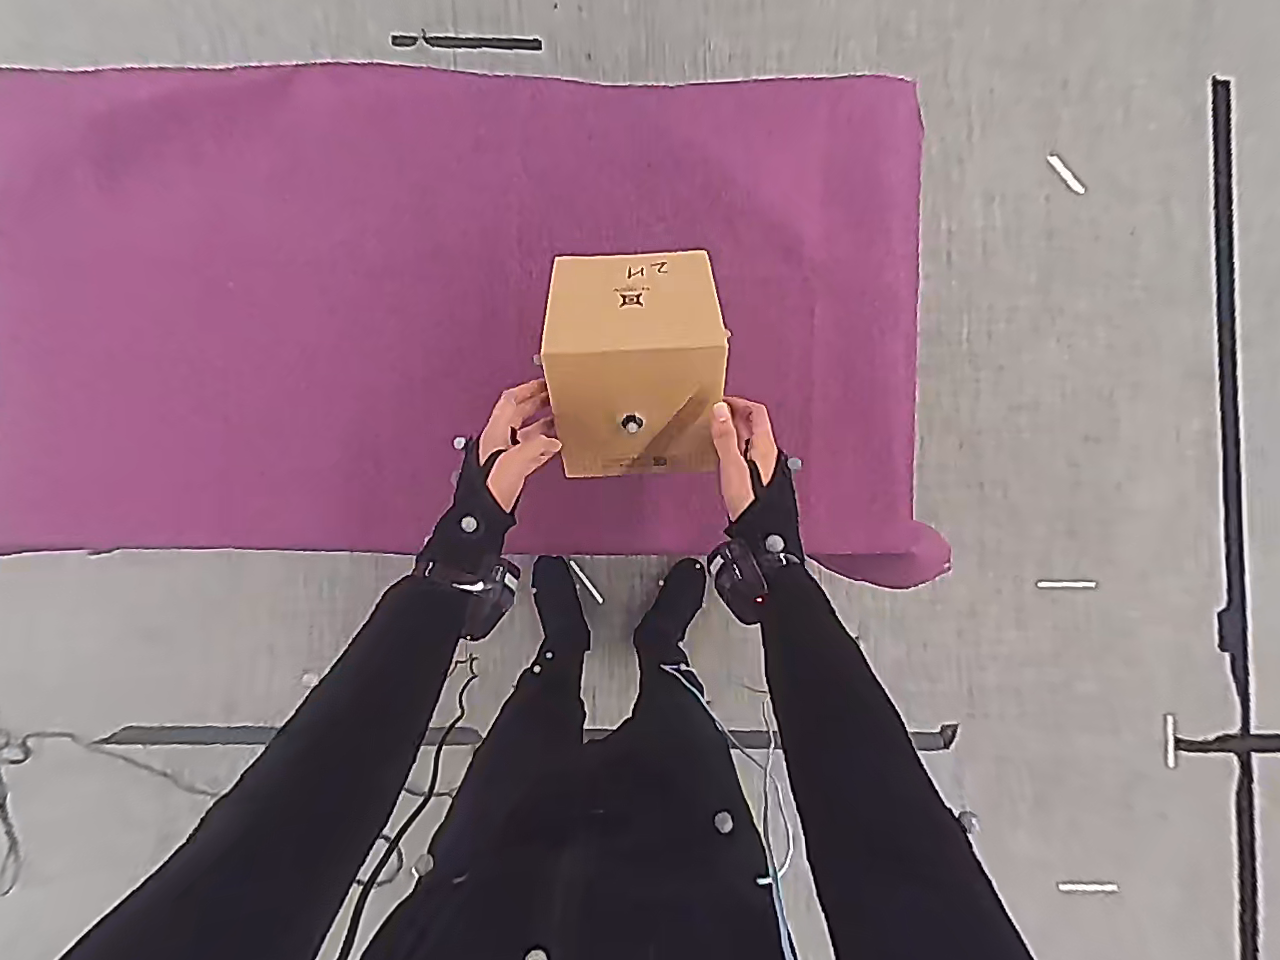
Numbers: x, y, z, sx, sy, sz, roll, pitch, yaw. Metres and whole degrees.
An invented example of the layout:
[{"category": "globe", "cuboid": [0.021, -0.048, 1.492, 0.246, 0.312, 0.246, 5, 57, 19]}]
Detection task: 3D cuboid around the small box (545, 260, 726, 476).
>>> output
[{"category": "small box", "cuboid": [0.000, -0.116, 0.591, 0.168, 0.176, 0.179, -1, 50, 1]}]
